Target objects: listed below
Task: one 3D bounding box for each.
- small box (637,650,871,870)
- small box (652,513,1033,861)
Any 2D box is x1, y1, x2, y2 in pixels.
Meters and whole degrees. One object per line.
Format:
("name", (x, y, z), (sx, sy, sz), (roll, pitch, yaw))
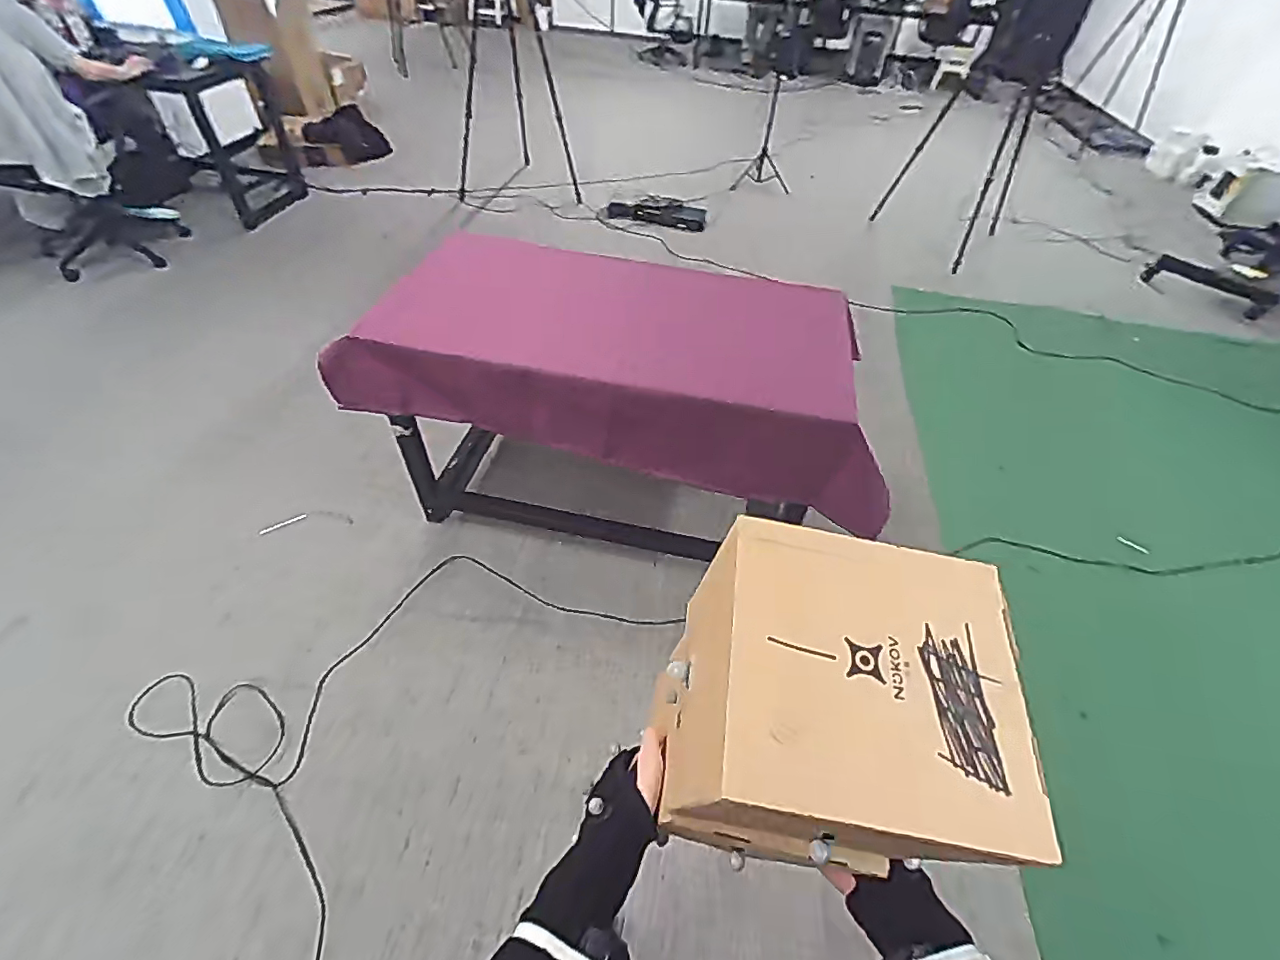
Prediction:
("small box", (0.099, 0.242, 0.512), (0.168, 0.176, 0.179), (14, 56, 1))
("small box", (0.115, 0.148, 0.378), (0.179, 0.176, 0.168), (11, 55, -1))
